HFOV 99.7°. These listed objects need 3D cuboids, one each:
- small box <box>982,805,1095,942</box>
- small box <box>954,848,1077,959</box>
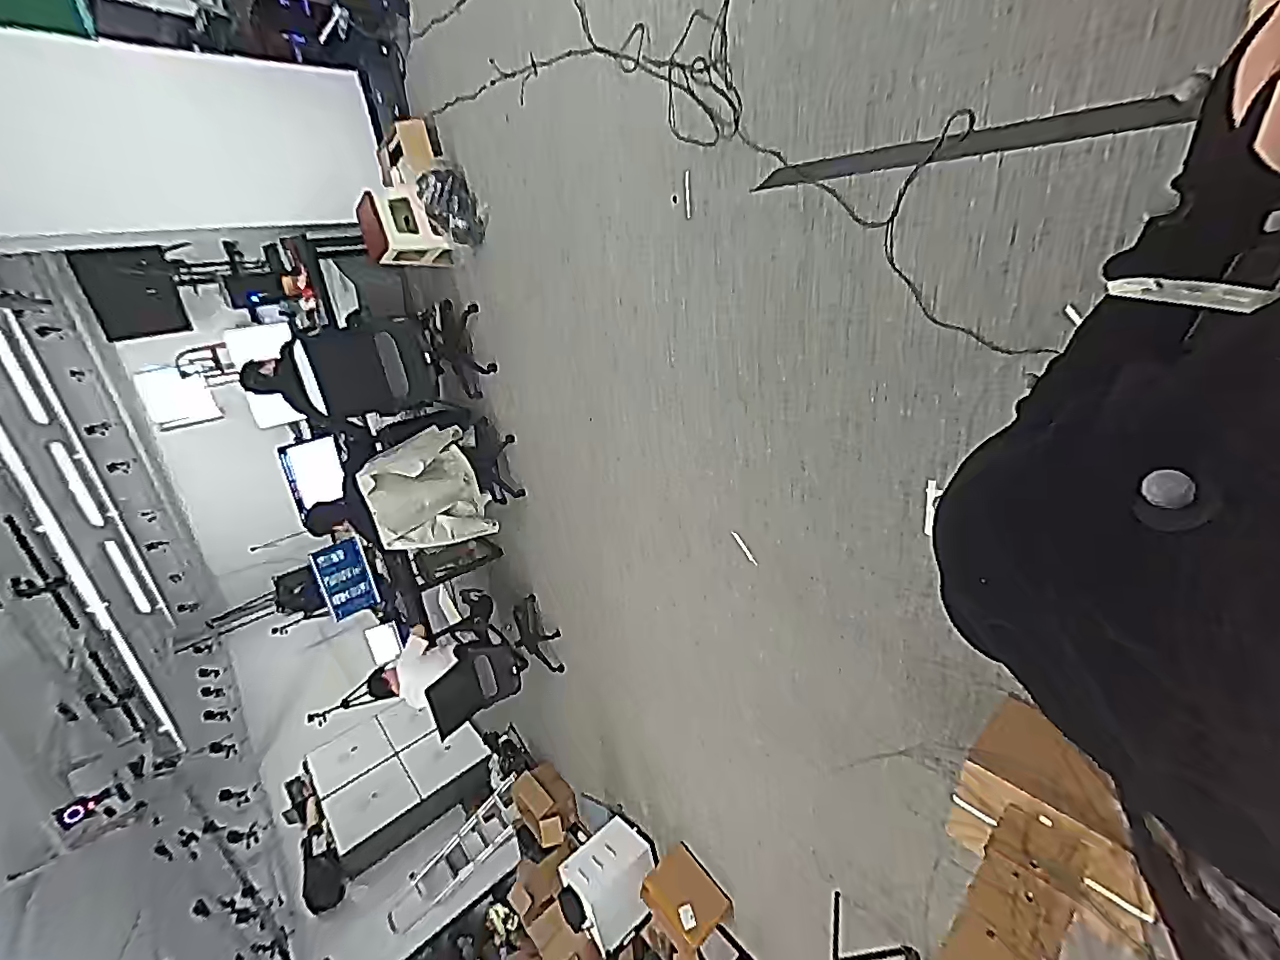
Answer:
[{"bbox_3d":[0.926,0.913,1.264,0.179,0.176,0.168,19,122,47],"label":"small box"},{"bbox_3d":[0.806,0.958,1.164,0.168,0.176,0.179,19,122,46],"label":"small box"}]
